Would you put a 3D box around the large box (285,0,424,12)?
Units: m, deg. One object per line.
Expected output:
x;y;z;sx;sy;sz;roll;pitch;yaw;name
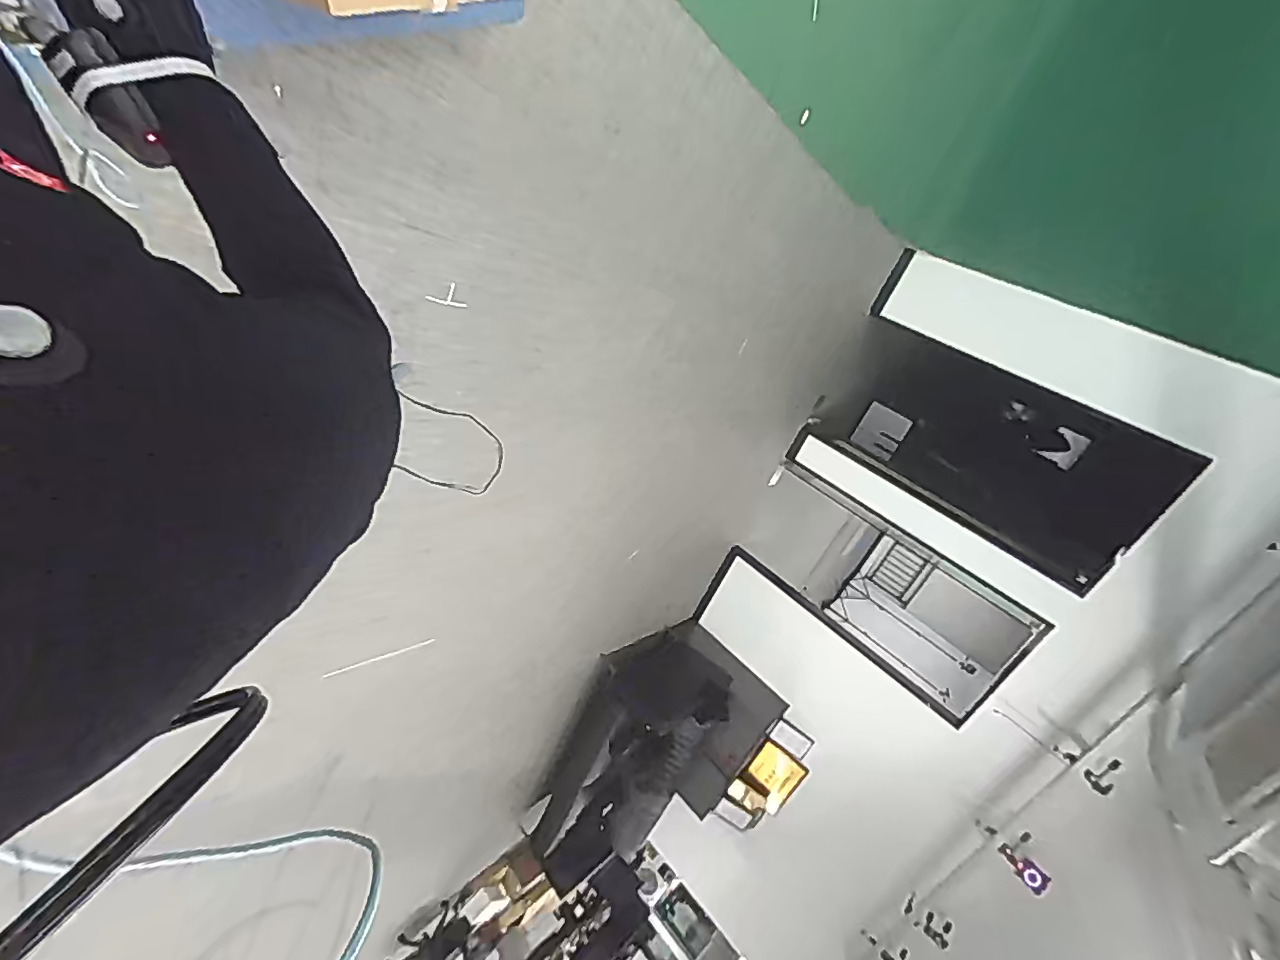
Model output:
-0.405;-0.918;0.724;0.320;0.320;0.408;-35;146;-27;large box
